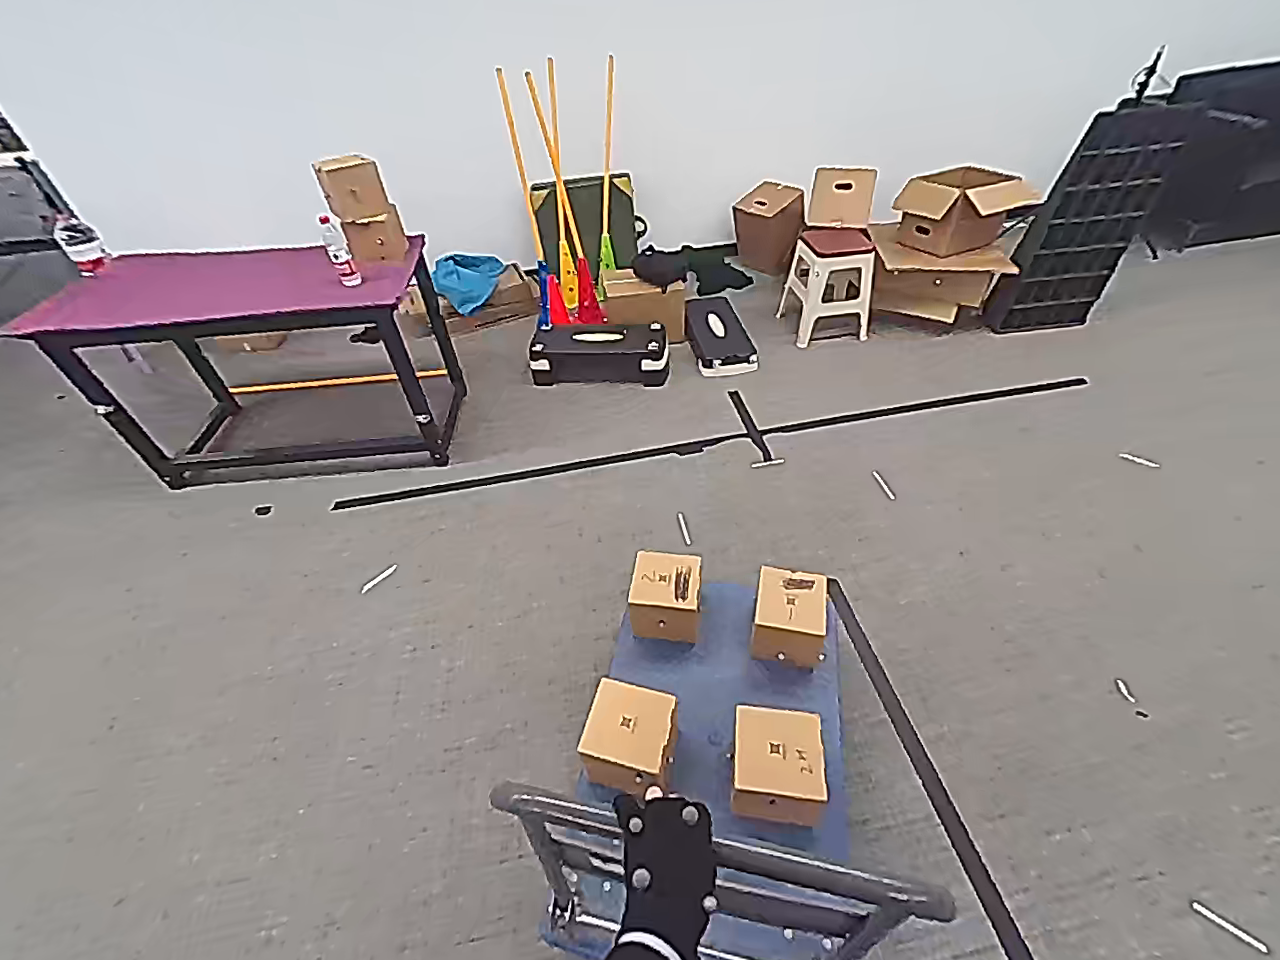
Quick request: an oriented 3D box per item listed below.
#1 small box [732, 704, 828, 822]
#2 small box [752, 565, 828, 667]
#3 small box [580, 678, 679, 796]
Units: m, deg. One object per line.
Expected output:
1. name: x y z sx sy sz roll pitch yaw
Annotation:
1. small box: 0.287 0.597 1.137 0.179 0.176 0.168 4 45 9
2. small box: 0.383 0.349 1.386 0.168 0.176 0.179 7 46 13
3. small box: -0.015 0.569 1.194 0.179 0.176 0.168 9 45 12
